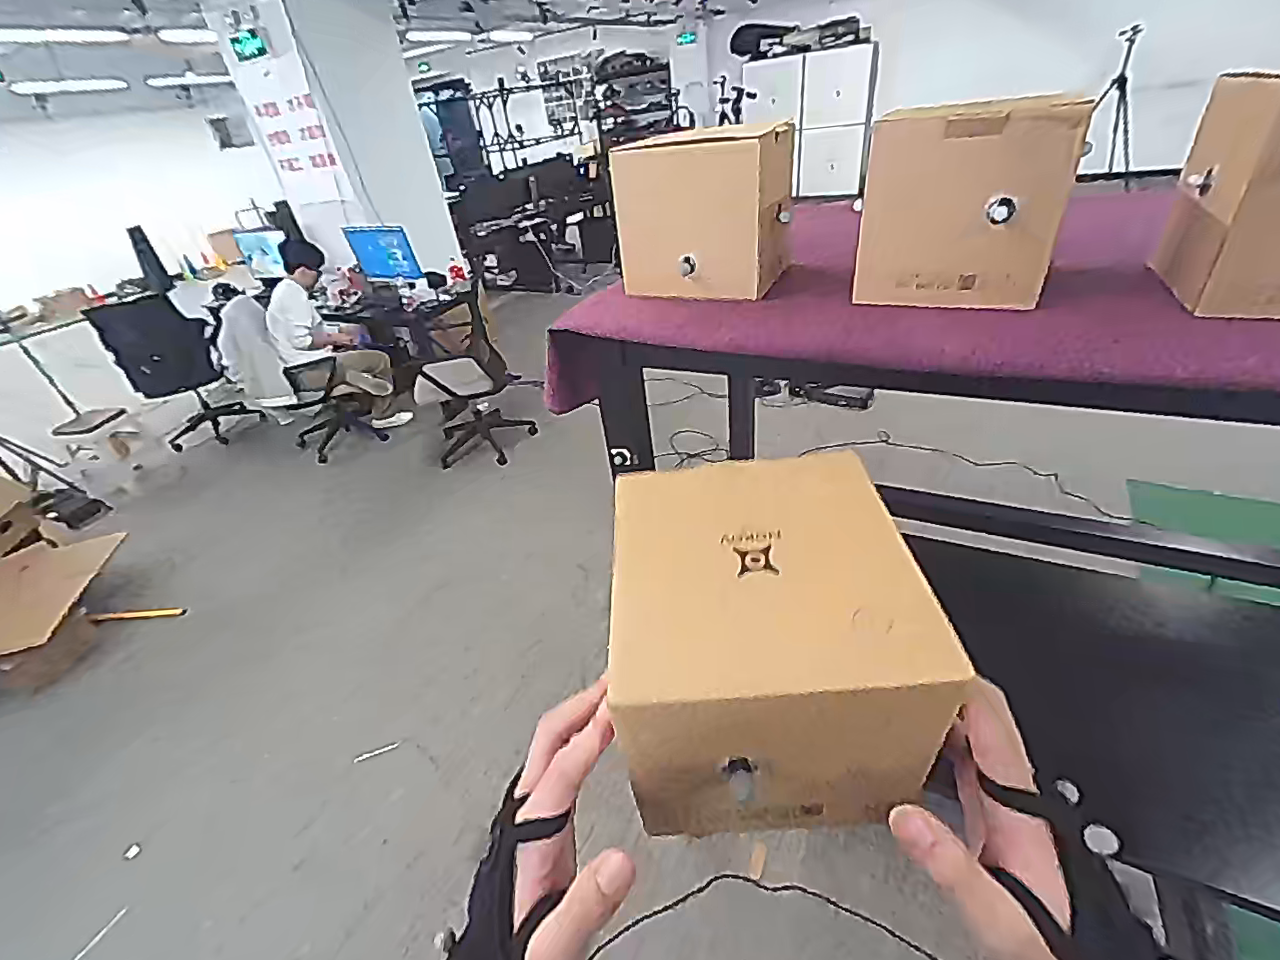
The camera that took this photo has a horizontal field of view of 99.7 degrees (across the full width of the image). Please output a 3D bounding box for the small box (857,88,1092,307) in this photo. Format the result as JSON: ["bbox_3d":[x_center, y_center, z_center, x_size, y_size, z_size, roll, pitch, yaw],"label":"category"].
[{"bbox_3d":[0.330,-0.286,0.557,0.168,0.176,0.179,13,39,27],"label":"small box"}]

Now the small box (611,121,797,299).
[{"bbox_3d":[0.085,-0.332,0.671,0.179,0.176,0.168,10,38,23],"label":"small box"}]
